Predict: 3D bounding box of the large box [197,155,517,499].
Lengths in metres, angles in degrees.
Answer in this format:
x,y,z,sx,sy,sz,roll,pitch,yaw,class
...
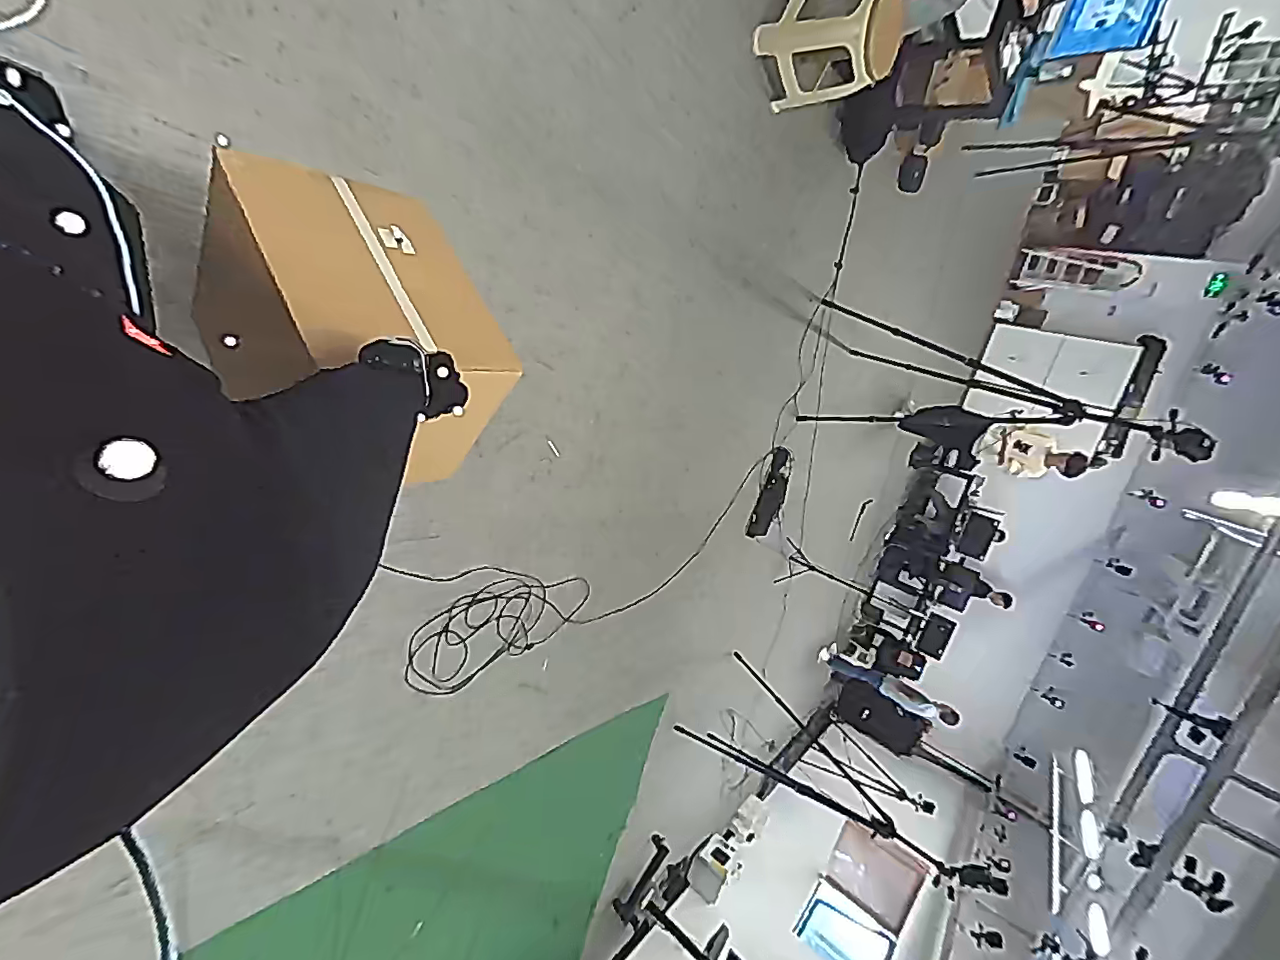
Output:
x,y,z,sx,sy,sz,roll,pitch,yaw,class
-0.482,-0.233,0.906,0.320,0.408,0.320,-13,155,-51,large box
